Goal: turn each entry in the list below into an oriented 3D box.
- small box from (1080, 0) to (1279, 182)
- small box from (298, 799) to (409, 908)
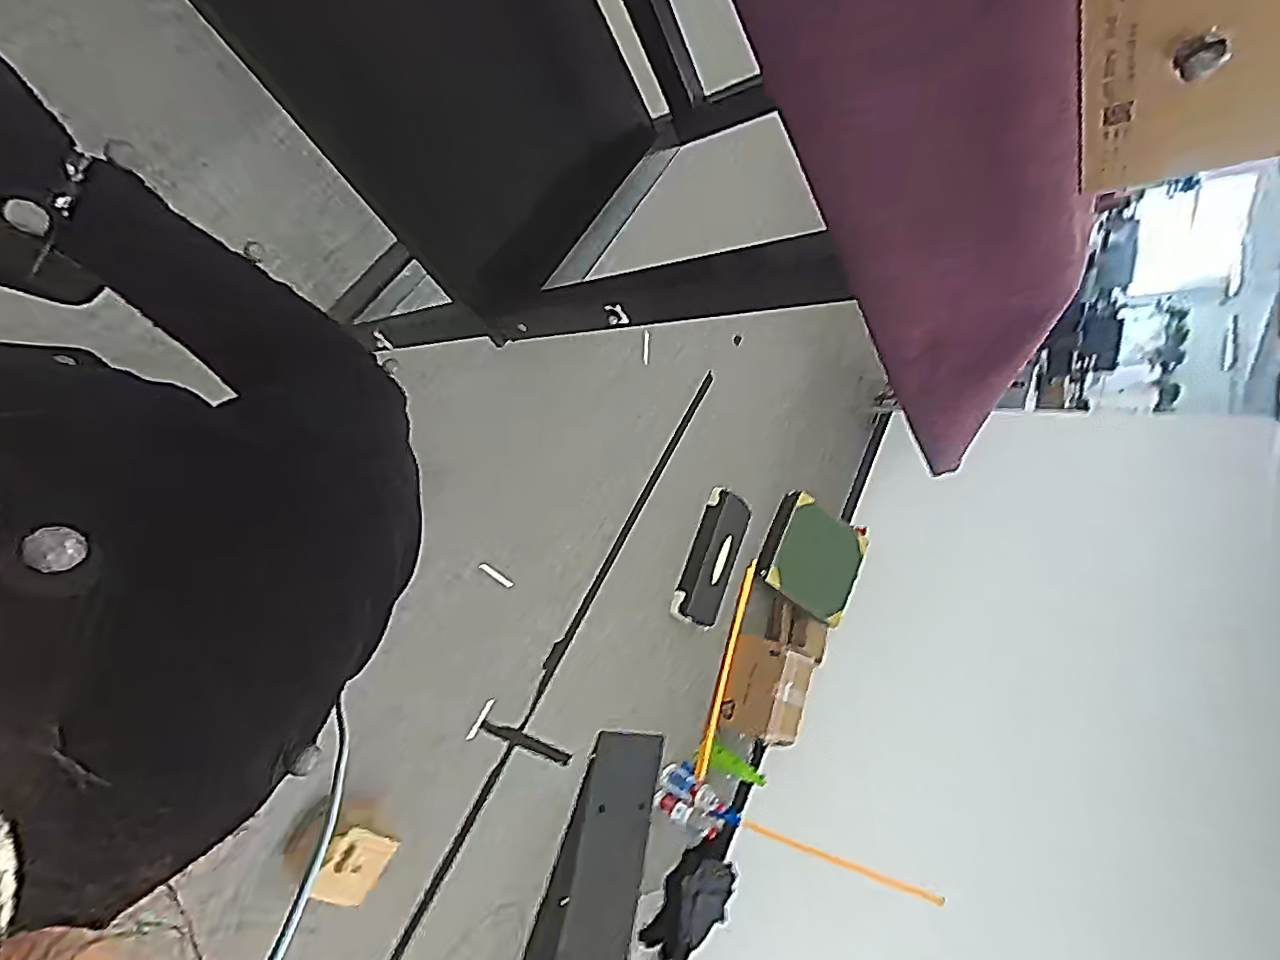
[{"bbox_3d":[0.390,-0.328,0.333,0.168,0.176,0.179,41,65,-42],"label":"small box"},{"bbox_3d":[-0.771,0.994,1.450,0.168,0.176,0.179,-56,133,-26],"label":"small box"}]
